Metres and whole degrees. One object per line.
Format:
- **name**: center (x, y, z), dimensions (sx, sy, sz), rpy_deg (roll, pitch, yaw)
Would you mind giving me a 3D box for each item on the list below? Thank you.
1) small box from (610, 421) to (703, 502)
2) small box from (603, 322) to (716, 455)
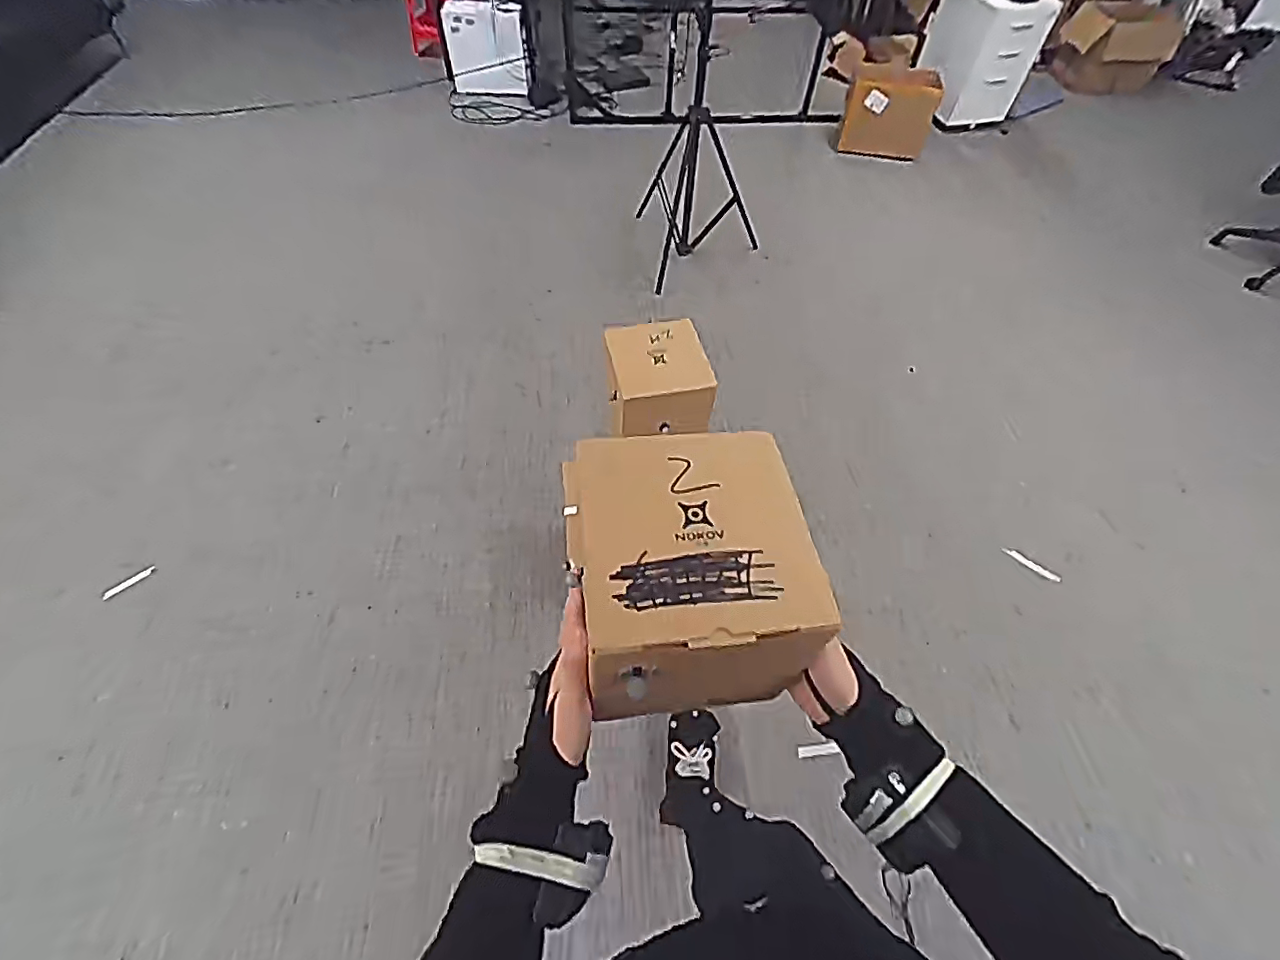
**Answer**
- **small box**: center (0.028, -0.065, 1.134), dimensions (0.168, 0.176, 0.179), rpy_deg (-6, 55, -8)
- **small box**: center (0.029, -0.162, 1.000), dimensions (0.168, 0.176, 0.179), rpy_deg (-9, 57, -10)
